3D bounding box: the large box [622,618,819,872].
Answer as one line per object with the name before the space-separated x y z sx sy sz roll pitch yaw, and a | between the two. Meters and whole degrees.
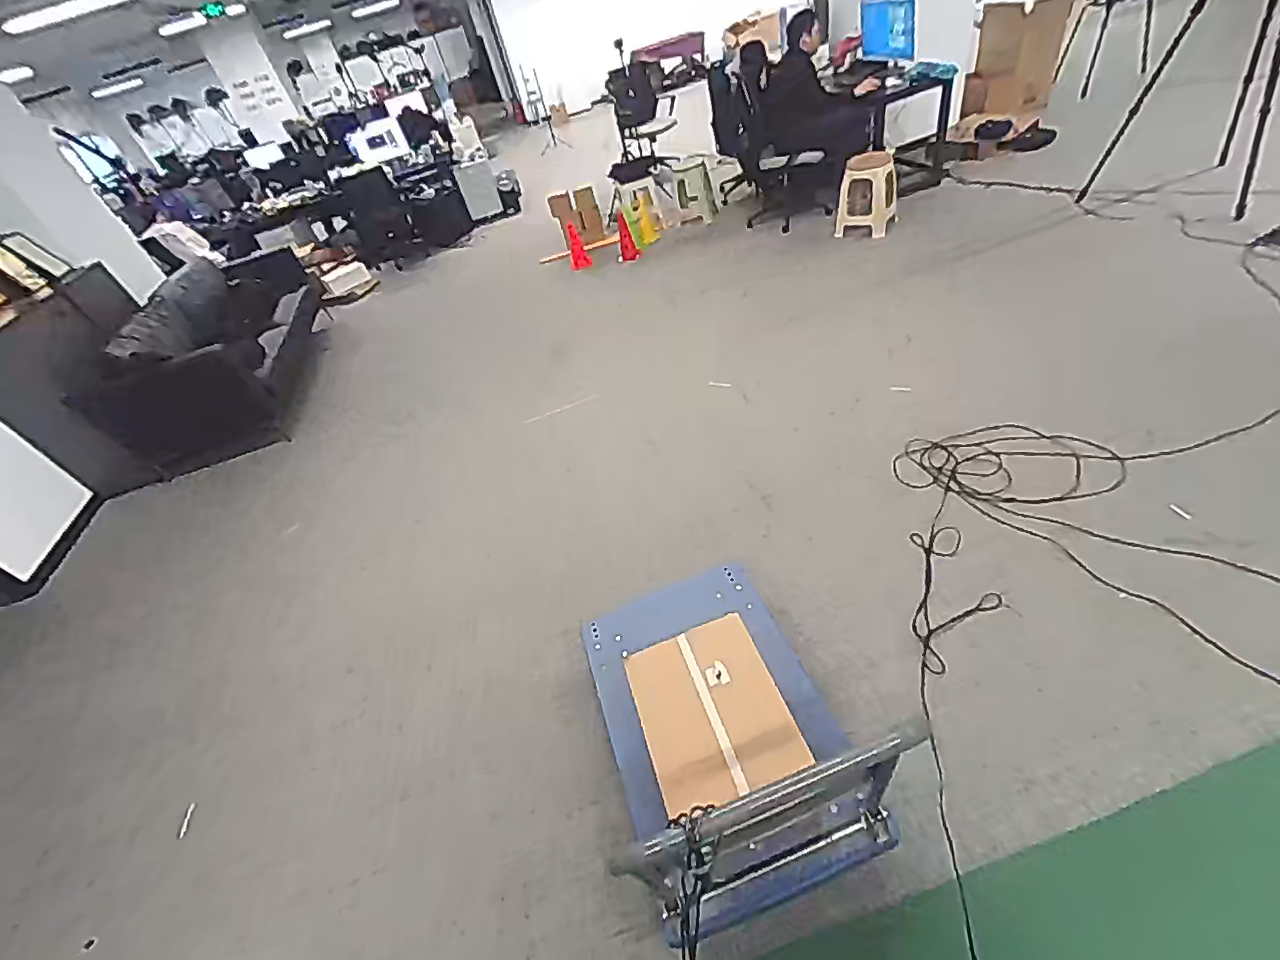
large box | 0.187 0.625 1.299 0.320 0.320 0.408 -20 40 -4
